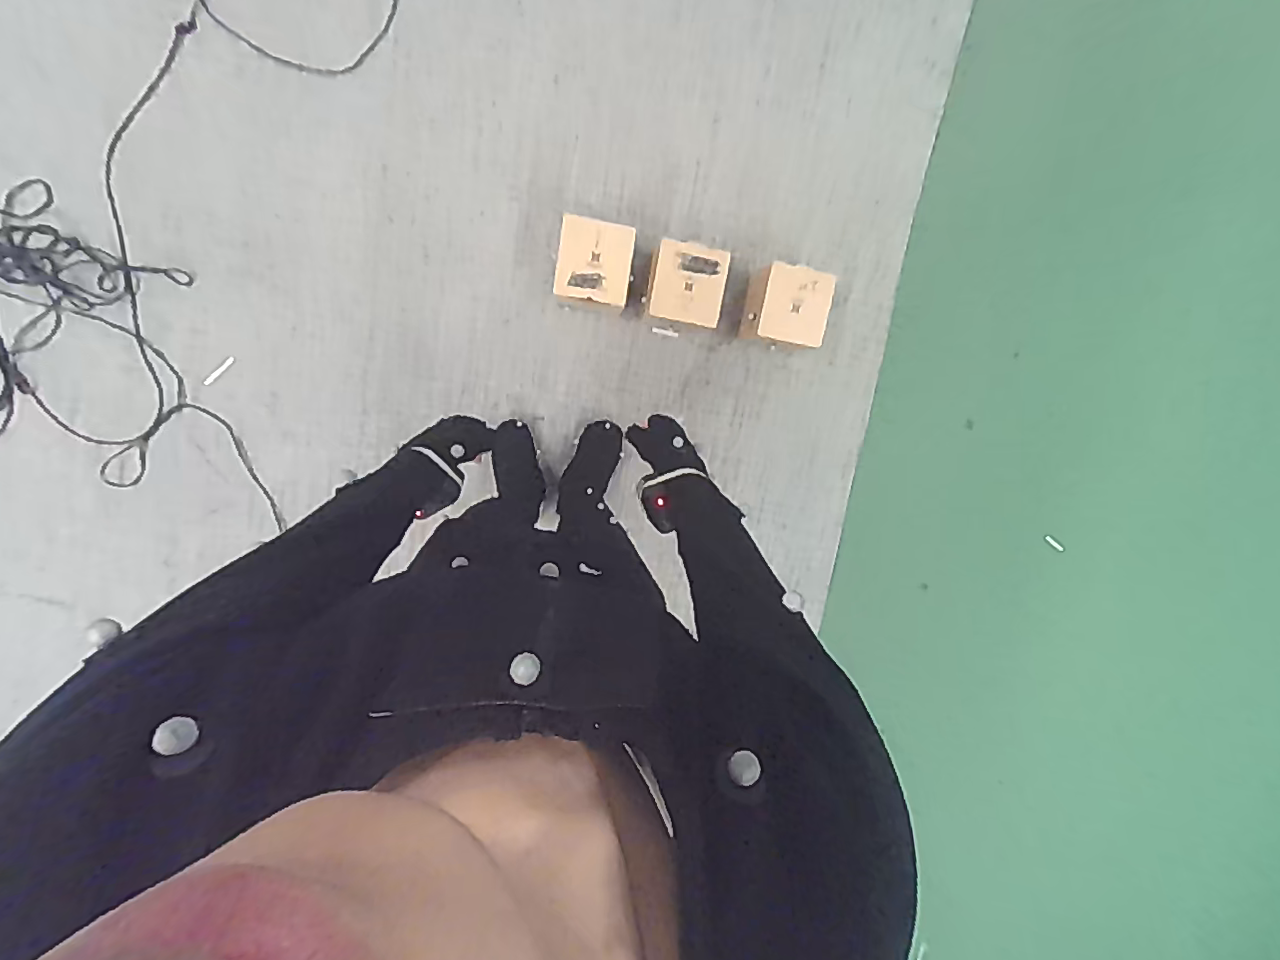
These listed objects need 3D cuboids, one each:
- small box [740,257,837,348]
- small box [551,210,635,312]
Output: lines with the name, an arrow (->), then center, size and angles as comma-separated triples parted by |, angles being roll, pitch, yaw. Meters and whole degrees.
small box -> 0.359, -0.432, 1.345 | 0.168, 0.176, 0.179 | 9, 99, -9
small box -> -0.110, -0.506, 1.275 | 0.168, 0.176, 0.179 | 8, 98, -7
